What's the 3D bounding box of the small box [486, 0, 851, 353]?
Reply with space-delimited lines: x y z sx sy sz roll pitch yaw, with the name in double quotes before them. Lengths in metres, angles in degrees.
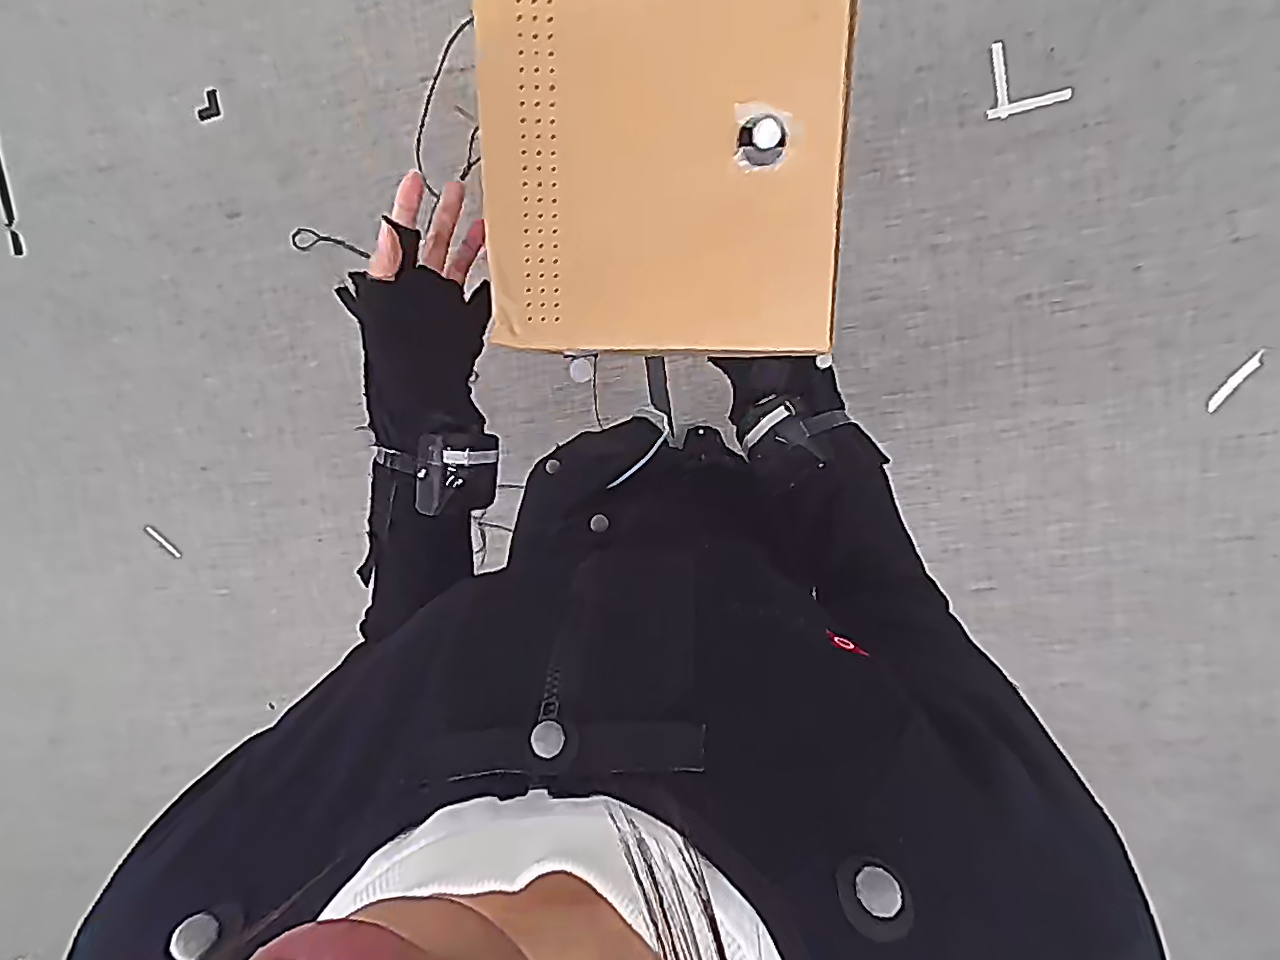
"small box" 0.007 -0.170 0.330 0.176 0.168 0.179 0 102 -3
